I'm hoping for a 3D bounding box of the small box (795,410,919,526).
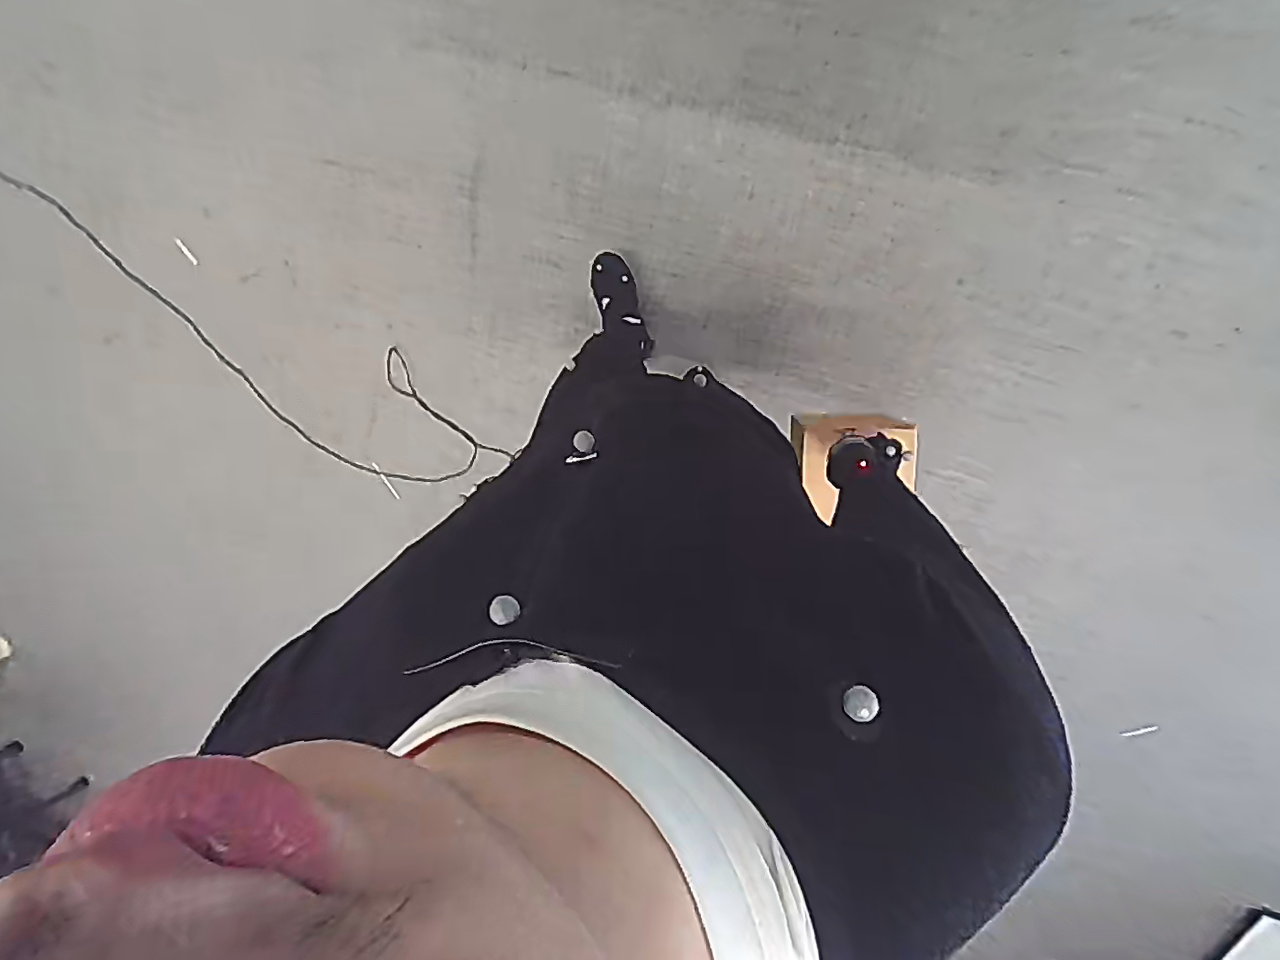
[{"bbox_3d":[0.350,-0.025,0.901,0.168,0.179,0.176,2,101,12],"label":"small box"}]
